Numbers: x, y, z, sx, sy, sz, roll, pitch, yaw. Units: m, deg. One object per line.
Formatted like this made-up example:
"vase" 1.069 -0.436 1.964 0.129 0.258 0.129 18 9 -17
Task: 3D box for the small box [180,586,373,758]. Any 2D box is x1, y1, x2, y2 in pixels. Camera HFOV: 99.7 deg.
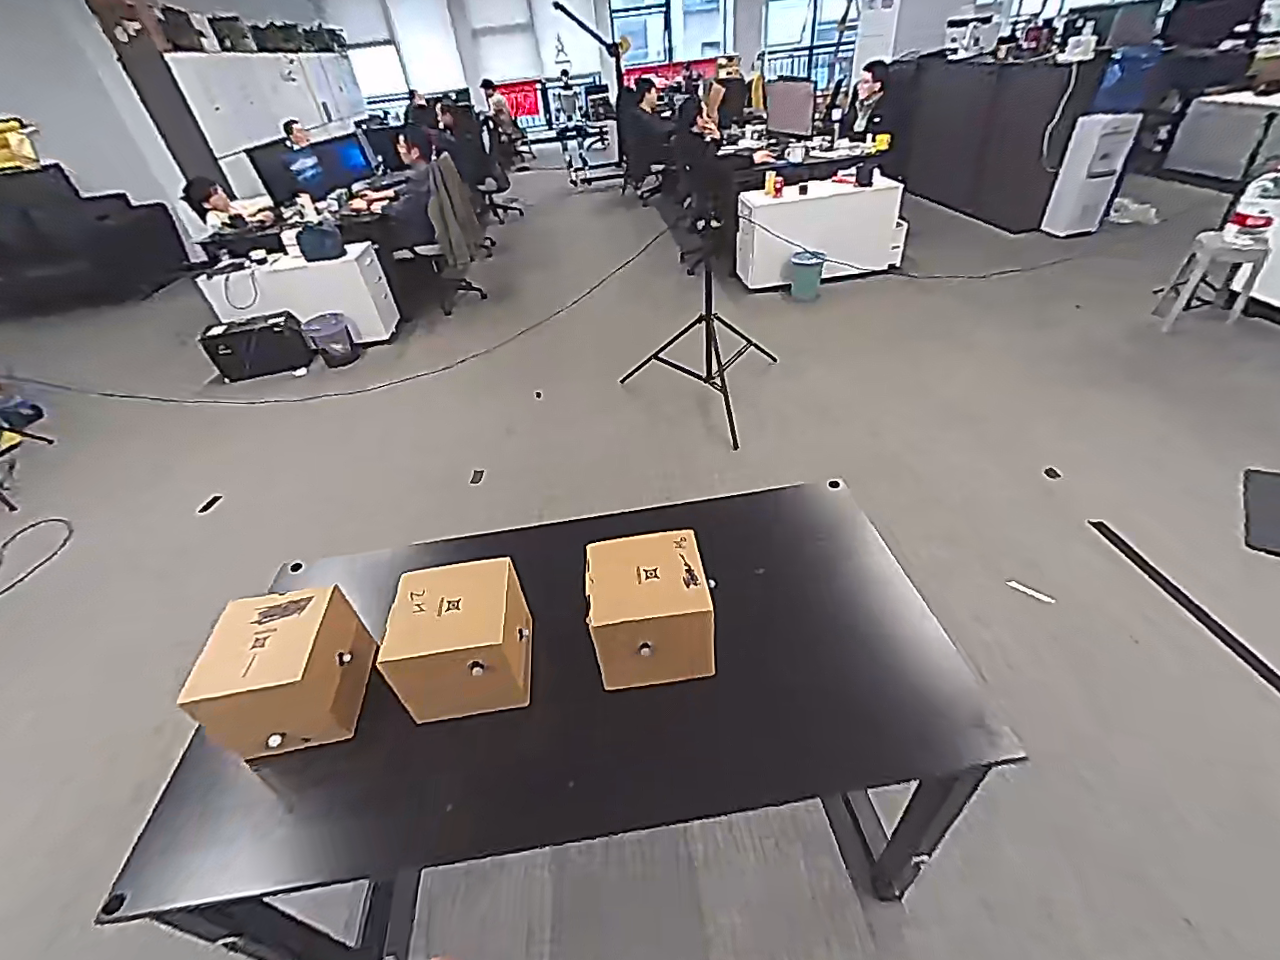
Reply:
"small box" -0.541 0.296 0.840 0.168 0.176 0.179 -10 40 -4

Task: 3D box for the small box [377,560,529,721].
"small box" -0.278 0.253 0.852 0.179 0.176 0.168 -9 38 -3

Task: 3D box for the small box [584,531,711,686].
"small box" 0.011 0.208 0.866 0.179 0.176 0.168 -9 39 -1
